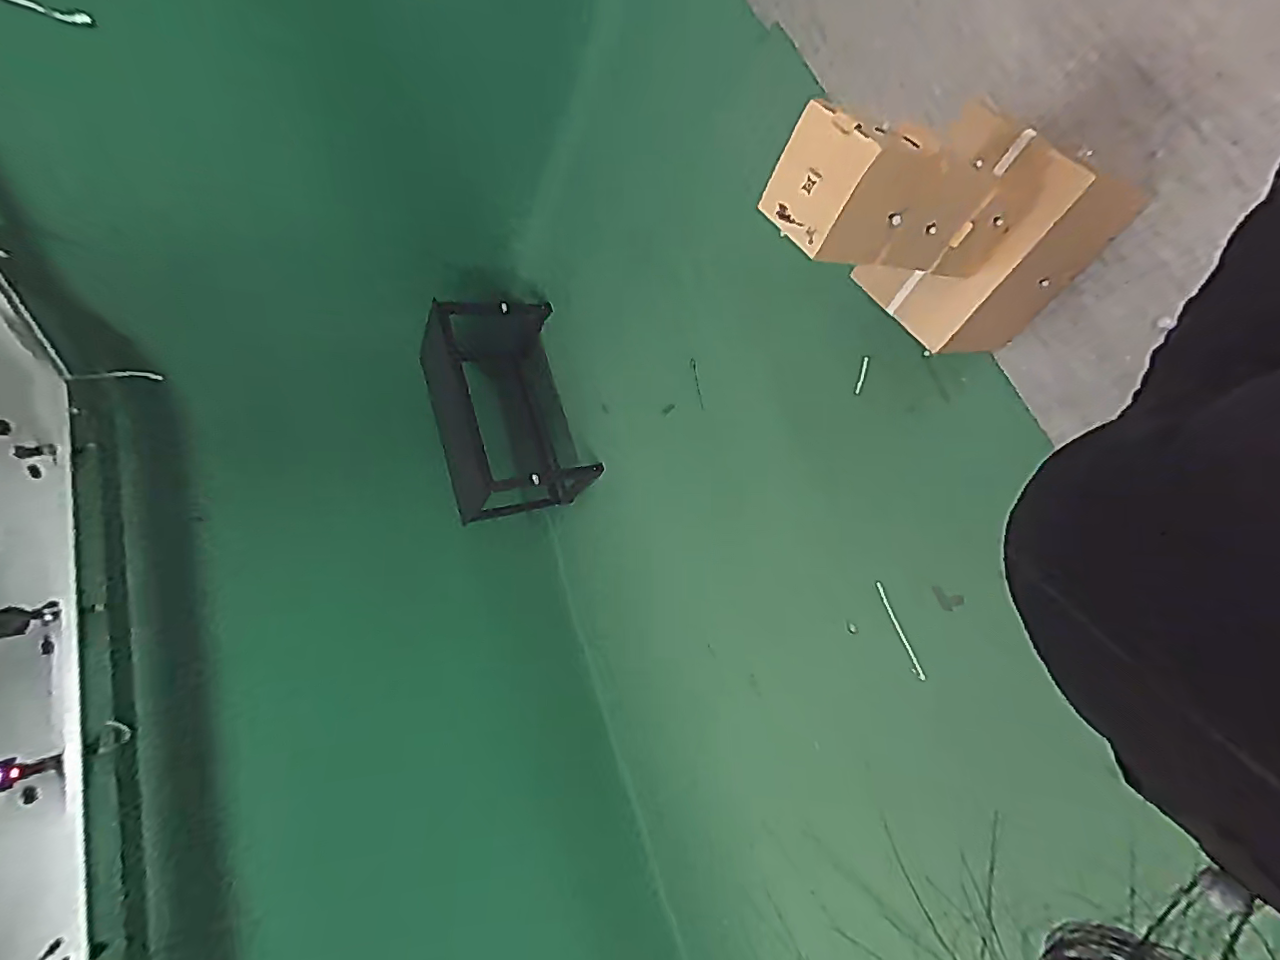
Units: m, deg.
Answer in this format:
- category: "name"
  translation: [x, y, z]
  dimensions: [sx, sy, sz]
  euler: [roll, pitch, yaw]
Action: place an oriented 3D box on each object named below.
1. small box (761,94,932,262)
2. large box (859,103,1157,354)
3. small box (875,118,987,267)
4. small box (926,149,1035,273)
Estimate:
- category: "small box"
  translation: [0.342, -0.485, 0.889]
  dimensions: [0.168, 0.176, 0.179]
  euler: [60, 141, 29]
- category: "large box"
  translation: [0.802, -0.547, 1.226]
  dimensions: [0.320, 0.320, 0.408]
  euler: [61, 145, 30]
- category: "small box"
  translation: [0.481, -0.509, 0.973]
  dimensions: [0.168, 0.176, 0.179]
  euler: [59, 143, 29]
- category: "small box"
  translation: [0.617, -0.528, 1.061]
  dimensions: [0.179, 0.176, 0.168]
  euler: [60, 143, 28]
